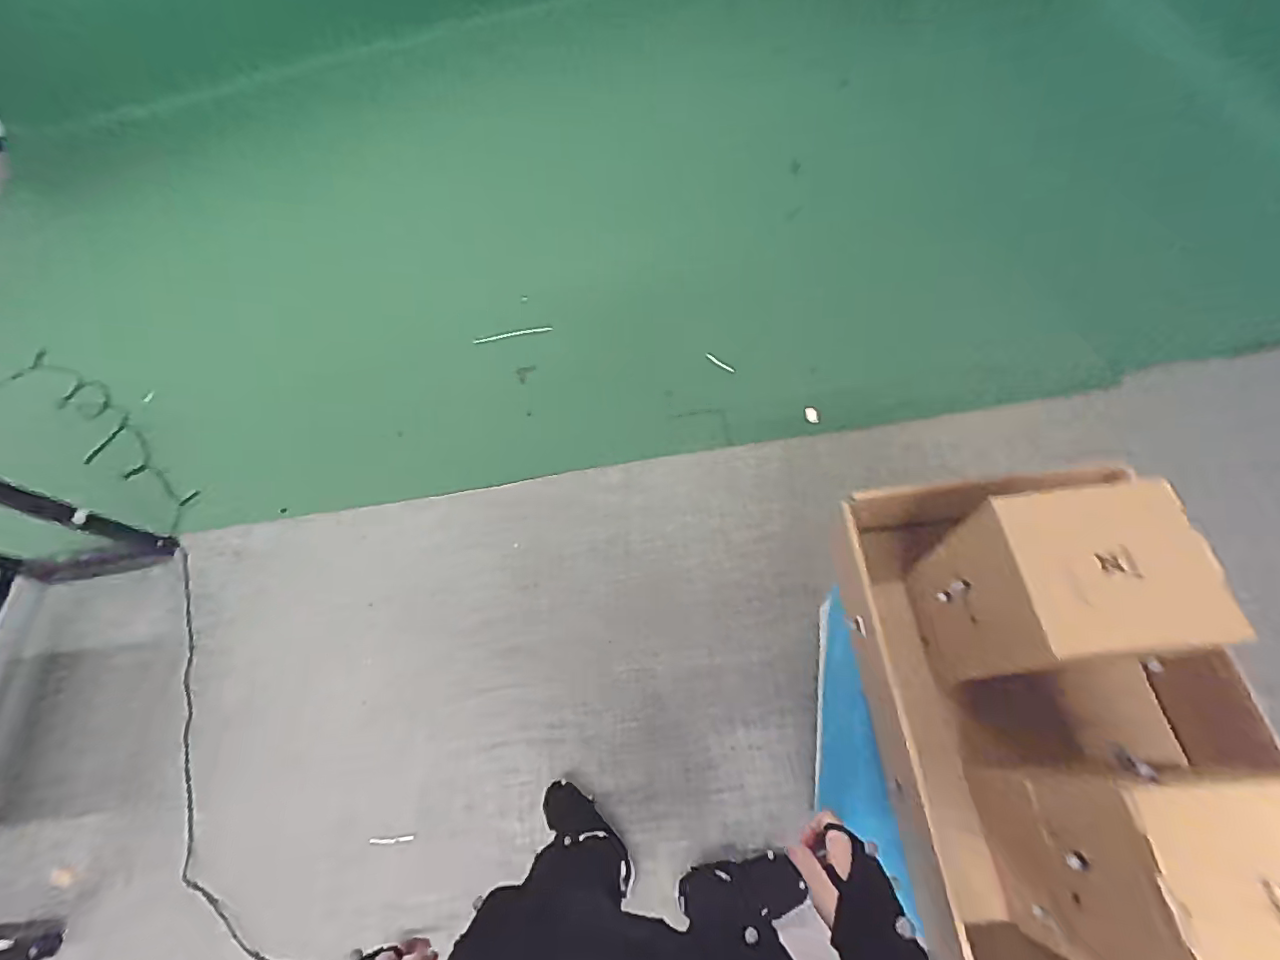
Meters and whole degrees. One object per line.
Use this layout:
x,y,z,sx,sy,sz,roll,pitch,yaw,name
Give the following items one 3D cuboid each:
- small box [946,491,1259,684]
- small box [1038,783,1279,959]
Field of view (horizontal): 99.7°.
0.479,0.127,0.599,0.179,0.176,0.168,-7,63,6,small box
0.506,0.366,0.473,0.179,0.176,0.168,-6,63,6,small box
